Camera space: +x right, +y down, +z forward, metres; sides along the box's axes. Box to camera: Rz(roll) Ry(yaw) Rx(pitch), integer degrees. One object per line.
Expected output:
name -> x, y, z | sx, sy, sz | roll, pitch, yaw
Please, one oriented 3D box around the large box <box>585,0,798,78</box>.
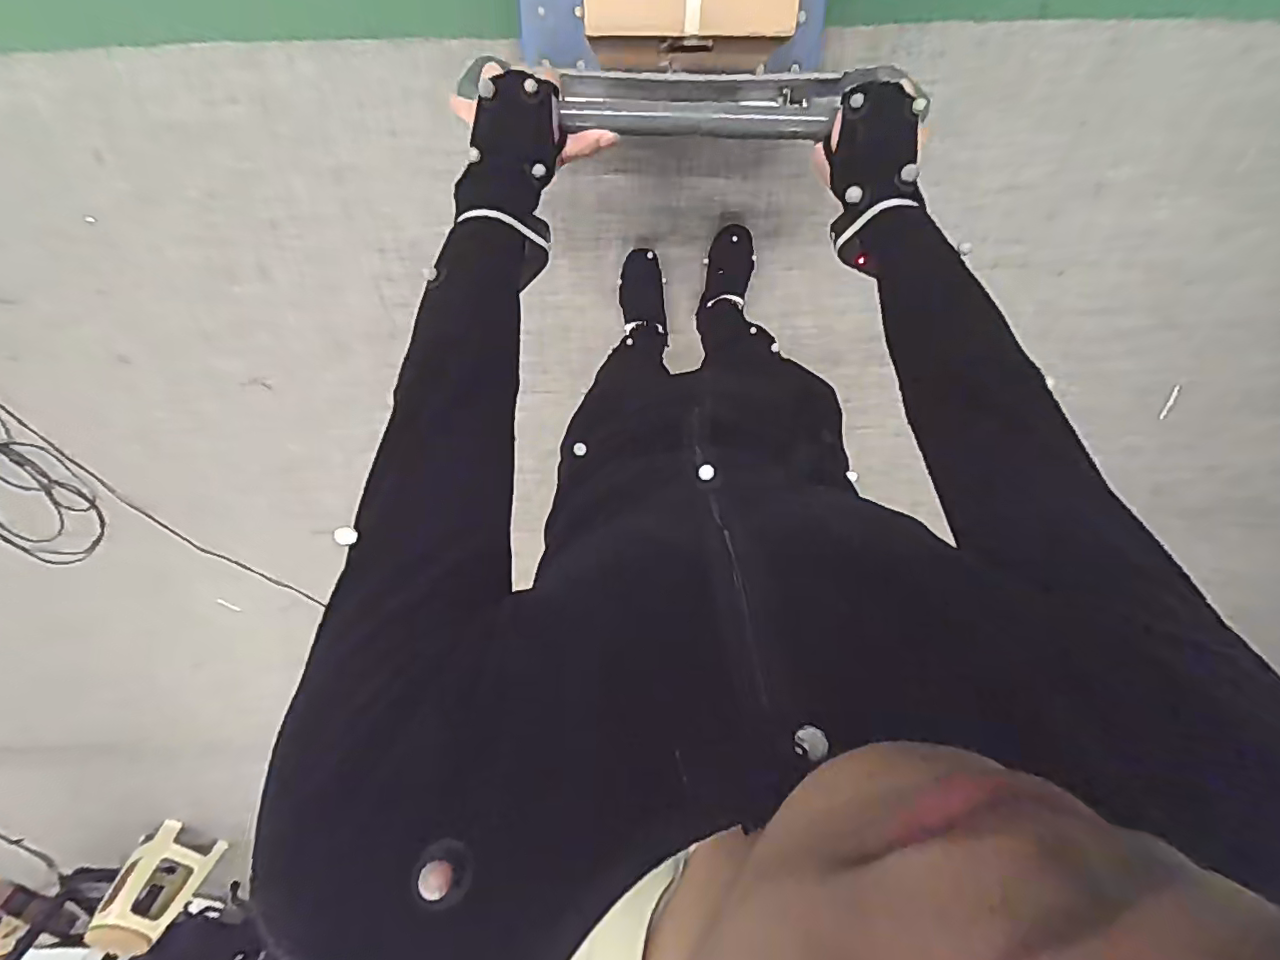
large box -> 0.077, -0.896, 0.841 | 0.320, 0.320, 0.408 | 1, 119, 0
